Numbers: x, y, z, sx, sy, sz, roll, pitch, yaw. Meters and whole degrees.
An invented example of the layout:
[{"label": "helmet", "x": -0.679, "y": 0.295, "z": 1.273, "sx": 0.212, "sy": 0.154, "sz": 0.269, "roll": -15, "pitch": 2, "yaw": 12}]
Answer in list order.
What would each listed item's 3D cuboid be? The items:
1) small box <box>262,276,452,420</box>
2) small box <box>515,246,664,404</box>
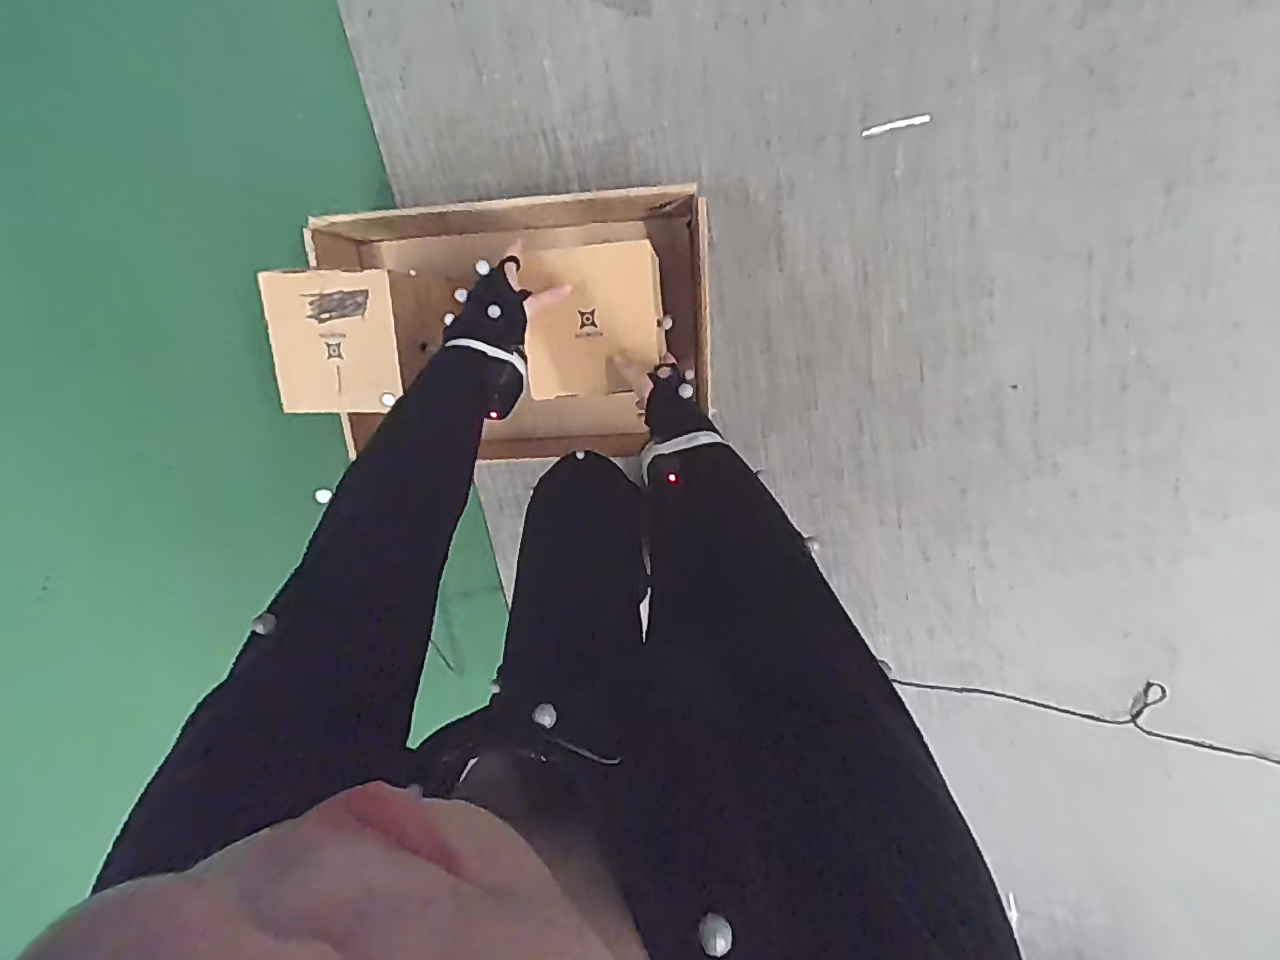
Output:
[{"label": "small box", "x": -0.377, "y": -0.184, "z": 0.755, "sx": 0.168, "sy": 0.176, "sz": 0.179, "roll": 0, "pitch": 106, "yaw": 2}, {"label": "small box", "x": -0.056, "y": -0.204, "z": 0.727, "sx": 0.168, "sy": 0.176, "sz": 0.179, "roll": -4, "pitch": 107, "yaw": 5}]
